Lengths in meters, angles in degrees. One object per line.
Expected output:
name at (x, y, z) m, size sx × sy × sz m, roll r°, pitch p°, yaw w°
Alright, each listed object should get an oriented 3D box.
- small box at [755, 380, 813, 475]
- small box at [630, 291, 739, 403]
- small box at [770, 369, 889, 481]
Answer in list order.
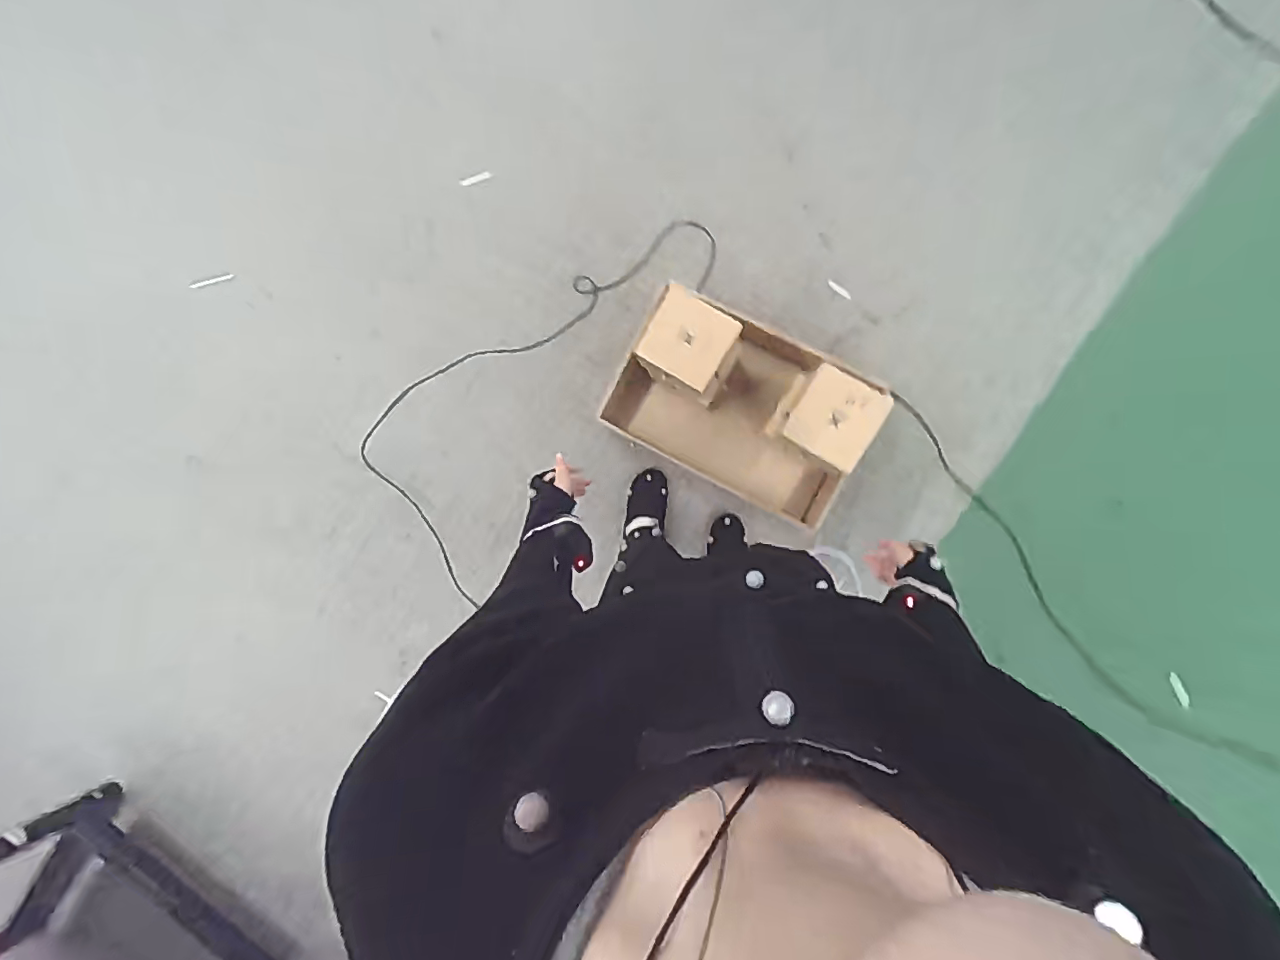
small box at (0.404, -0.121, 1.346) m, size 0.179 × 0.176 × 0.168 m, roll 32°, pitch 93°, yaw 5°
small box at (0.099, -0.287, 1.213) m, size 0.179 × 0.176 × 0.168 m, roll 32°, pitch 94°, yaw 4°
small box at (0.400, -0.112, 1.181) m, size 0.168 × 0.176 × 0.179 m, roll 32°, pitch 92°, yaw 4°
